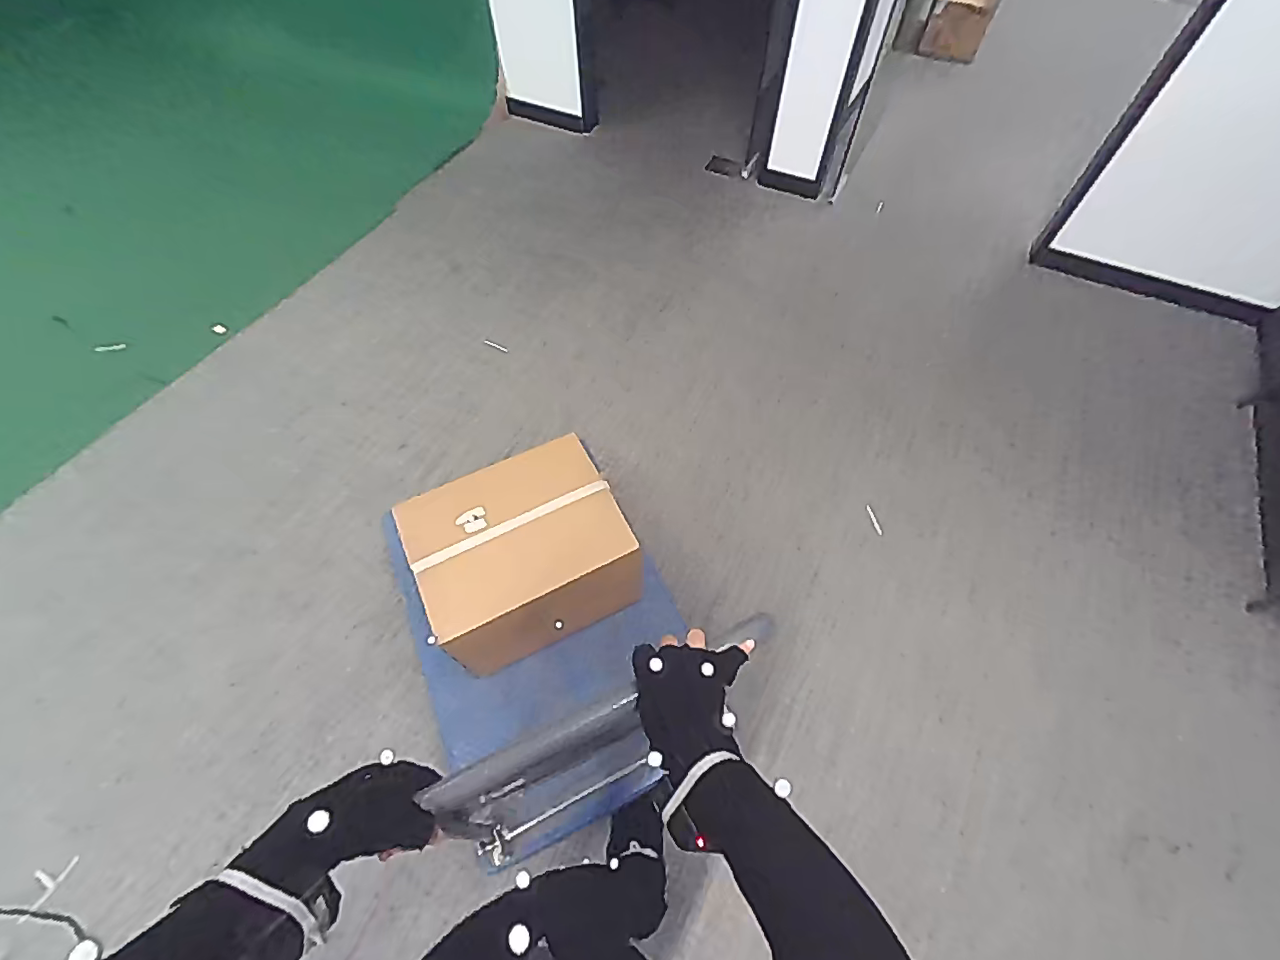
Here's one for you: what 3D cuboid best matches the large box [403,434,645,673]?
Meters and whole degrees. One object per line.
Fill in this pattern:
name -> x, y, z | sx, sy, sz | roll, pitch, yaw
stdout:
large box -> -0.234, 0.168, 1.199 | 0.408, 0.320, 0.320 | -25, 62, -14
